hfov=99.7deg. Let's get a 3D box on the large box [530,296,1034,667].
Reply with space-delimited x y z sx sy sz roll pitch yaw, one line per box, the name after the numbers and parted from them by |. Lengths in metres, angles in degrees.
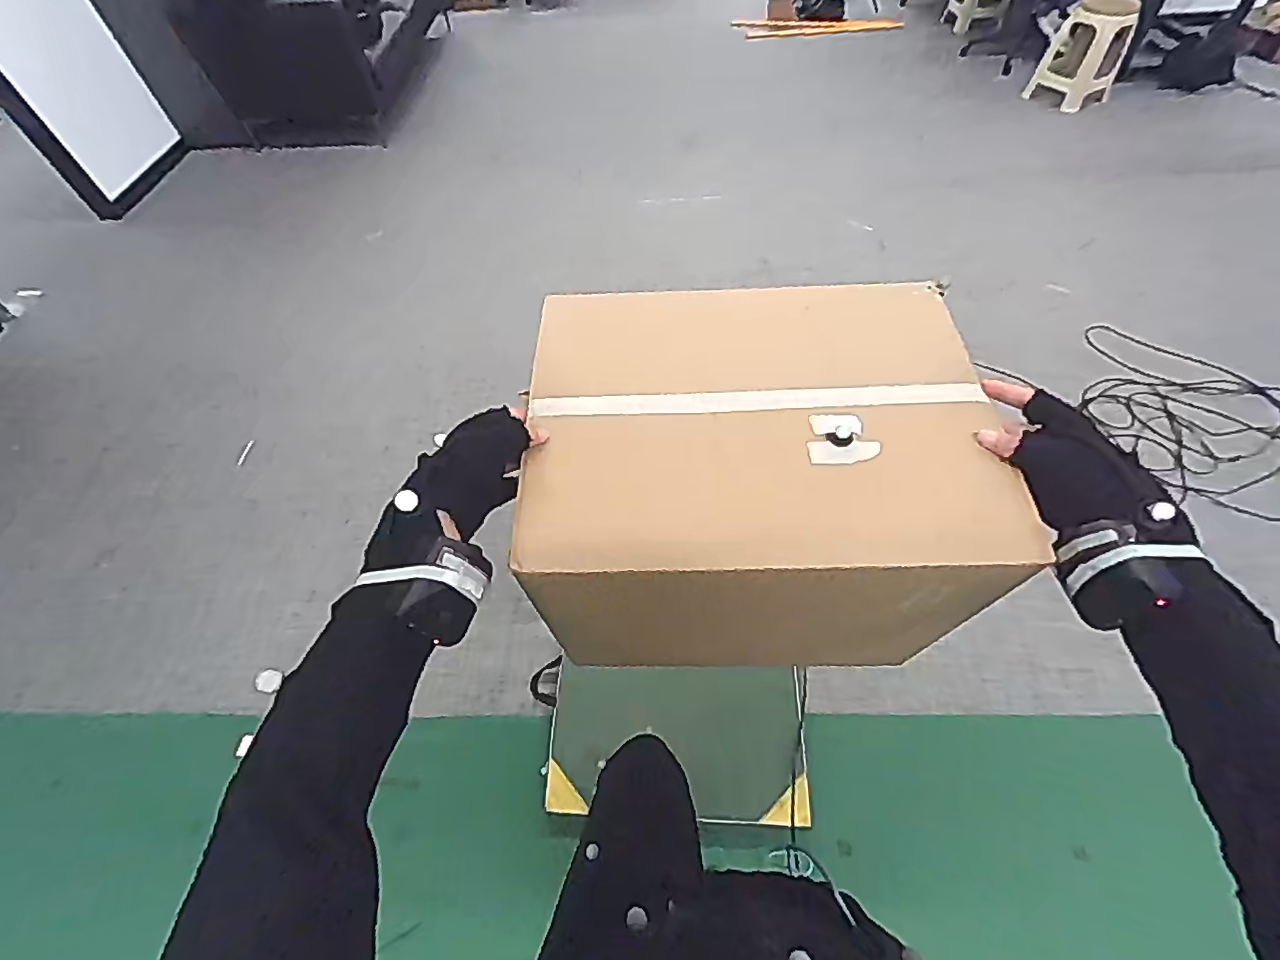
0.110 0.019 0.624 0.408 0.320 0.320 -1 59 1 | large box
